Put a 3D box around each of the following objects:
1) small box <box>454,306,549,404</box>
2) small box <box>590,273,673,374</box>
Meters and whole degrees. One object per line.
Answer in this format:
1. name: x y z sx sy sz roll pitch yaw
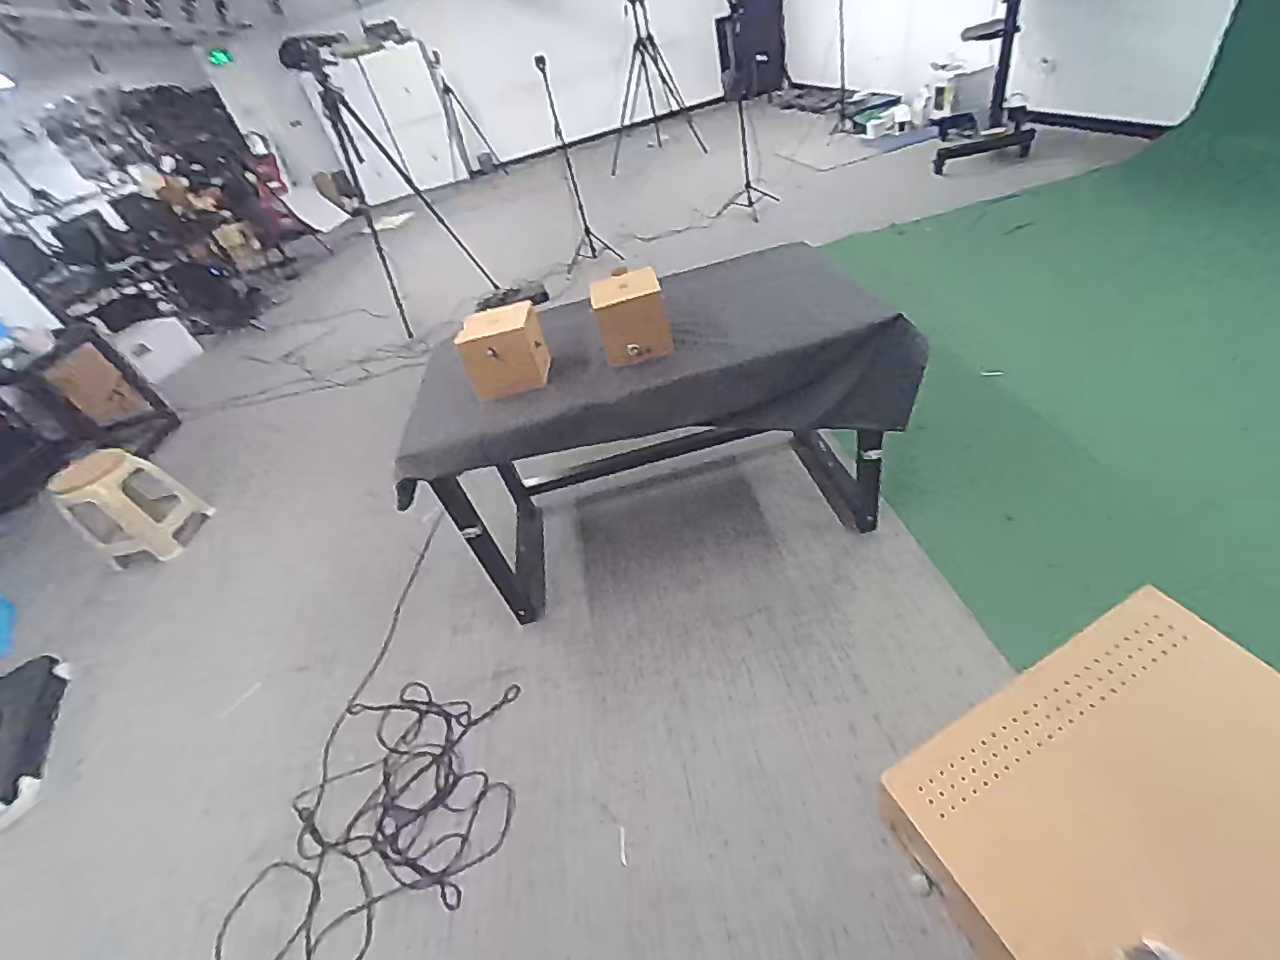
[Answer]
1. small box: -0.339 -0.315 1.370 0.179 0.176 0.168 -12 39 5
2. small box: -0.021 -0.391 1.355 0.168 0.176 0.179 -15 39 2
